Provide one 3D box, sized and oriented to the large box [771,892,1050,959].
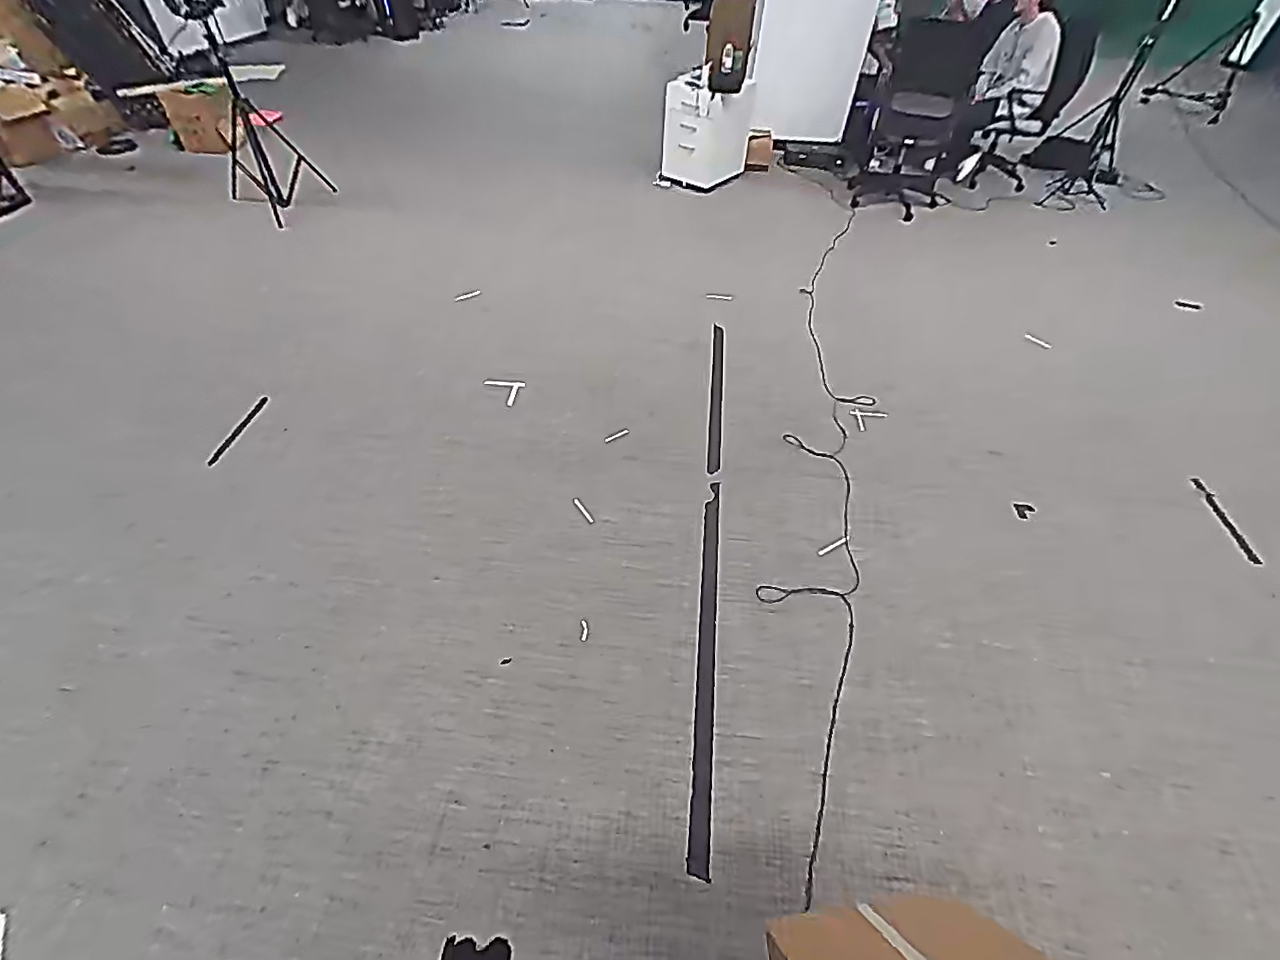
[{"bbox_3d":[0.381,0.757,0.619,0.320,0.408,0.320,-5,74,-6],"label":"large box"}]
